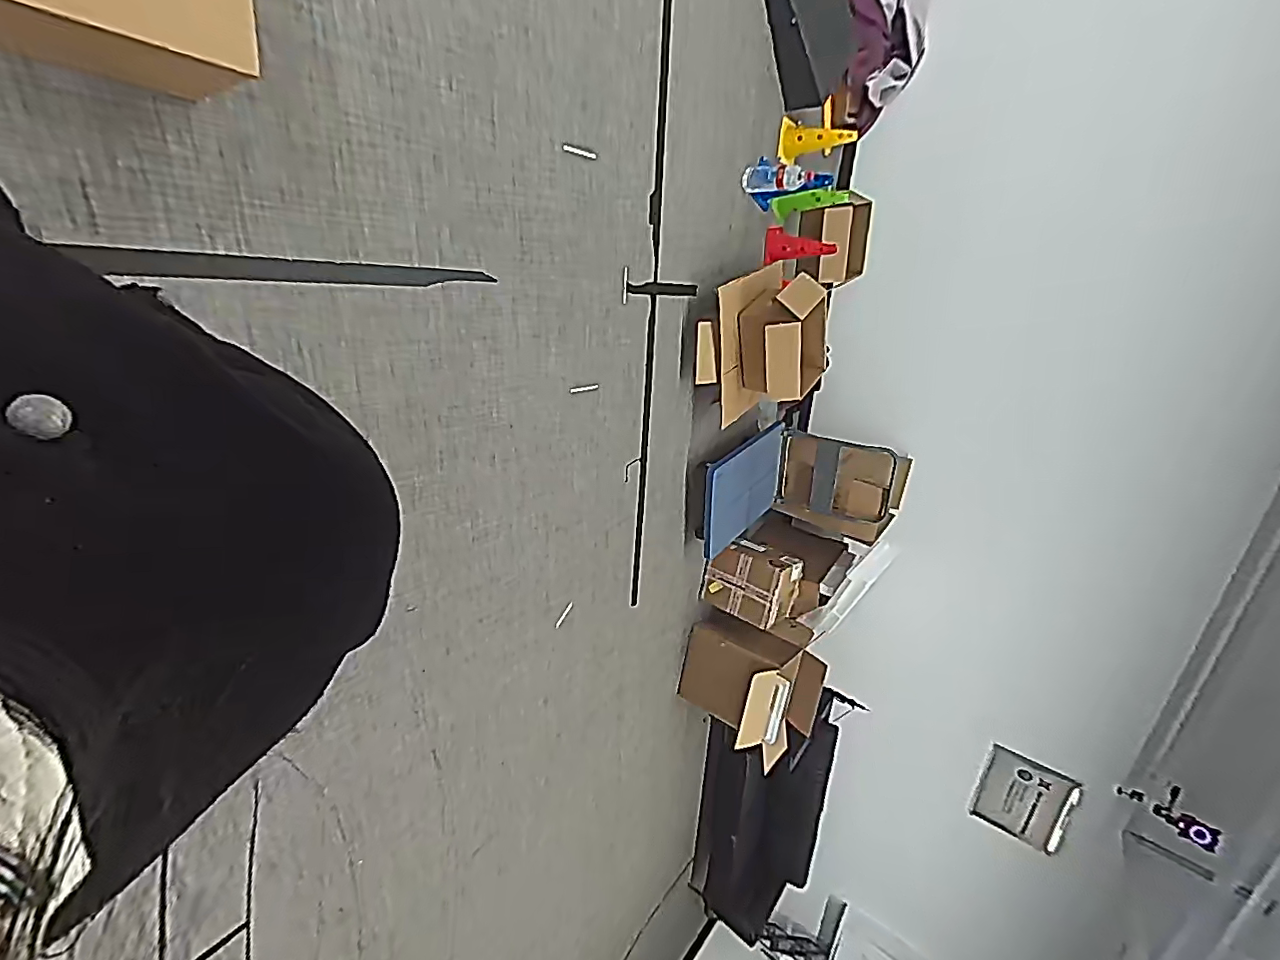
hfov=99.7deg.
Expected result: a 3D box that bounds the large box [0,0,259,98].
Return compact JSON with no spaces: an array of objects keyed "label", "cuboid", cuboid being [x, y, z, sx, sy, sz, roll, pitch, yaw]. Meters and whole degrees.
[{"label":"large box","cuboid":[-0.853,-0.803,0.770,0.408,0.320,0.320,-19,121,-51]}]
